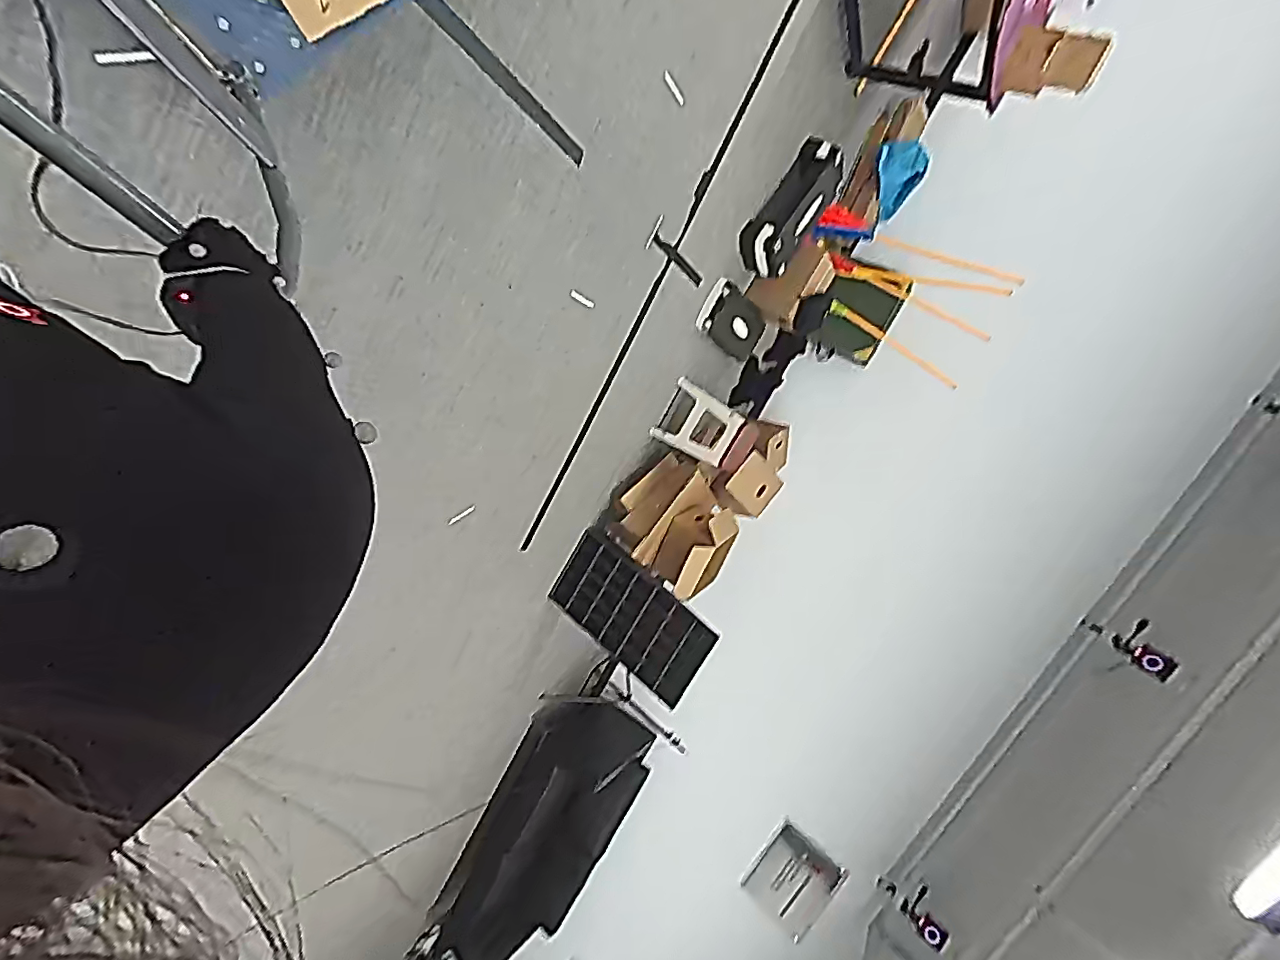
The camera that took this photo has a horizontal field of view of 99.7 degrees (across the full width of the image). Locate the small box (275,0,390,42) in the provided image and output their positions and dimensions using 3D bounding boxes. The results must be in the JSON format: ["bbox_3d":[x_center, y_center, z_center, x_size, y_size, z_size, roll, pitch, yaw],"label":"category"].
[{"bbox_3d":[-0.528,-0.840,0.840,0.168,0.176,0.179,-34,152,-5],"label":"small box"}]
